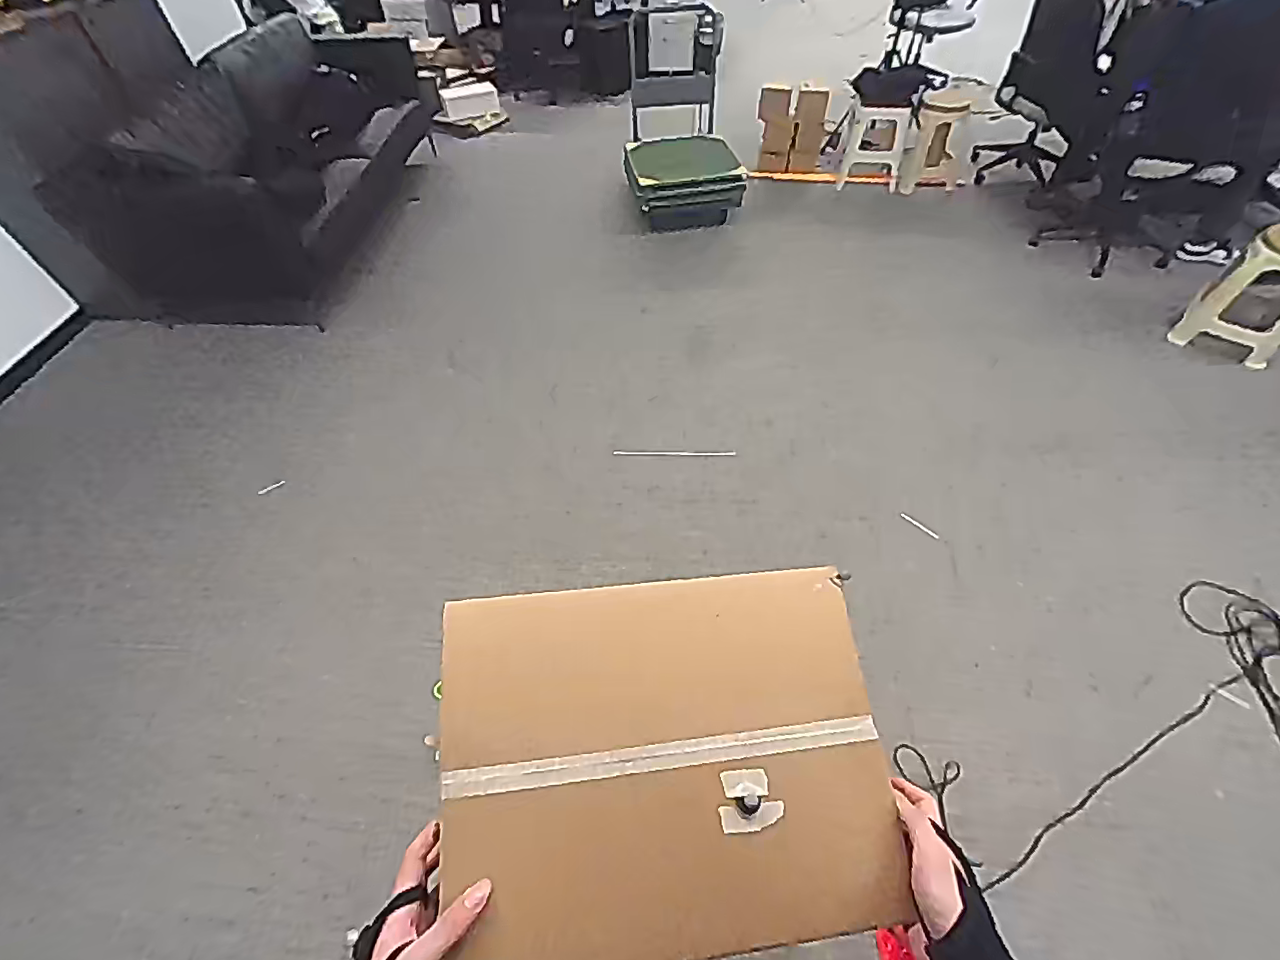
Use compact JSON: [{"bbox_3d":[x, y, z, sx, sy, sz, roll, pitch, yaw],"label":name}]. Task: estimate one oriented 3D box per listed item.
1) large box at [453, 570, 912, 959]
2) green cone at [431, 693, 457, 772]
[{"bbox_3d":[0.015,0.310,0.644,0.408,0.320,0.320,-4,70,-8],"label":"large box"},{"bbox_3d":[-0.451,0.605,1.369,0.200,0.368,0.202,6,53,7],"label":"green cone"}]
